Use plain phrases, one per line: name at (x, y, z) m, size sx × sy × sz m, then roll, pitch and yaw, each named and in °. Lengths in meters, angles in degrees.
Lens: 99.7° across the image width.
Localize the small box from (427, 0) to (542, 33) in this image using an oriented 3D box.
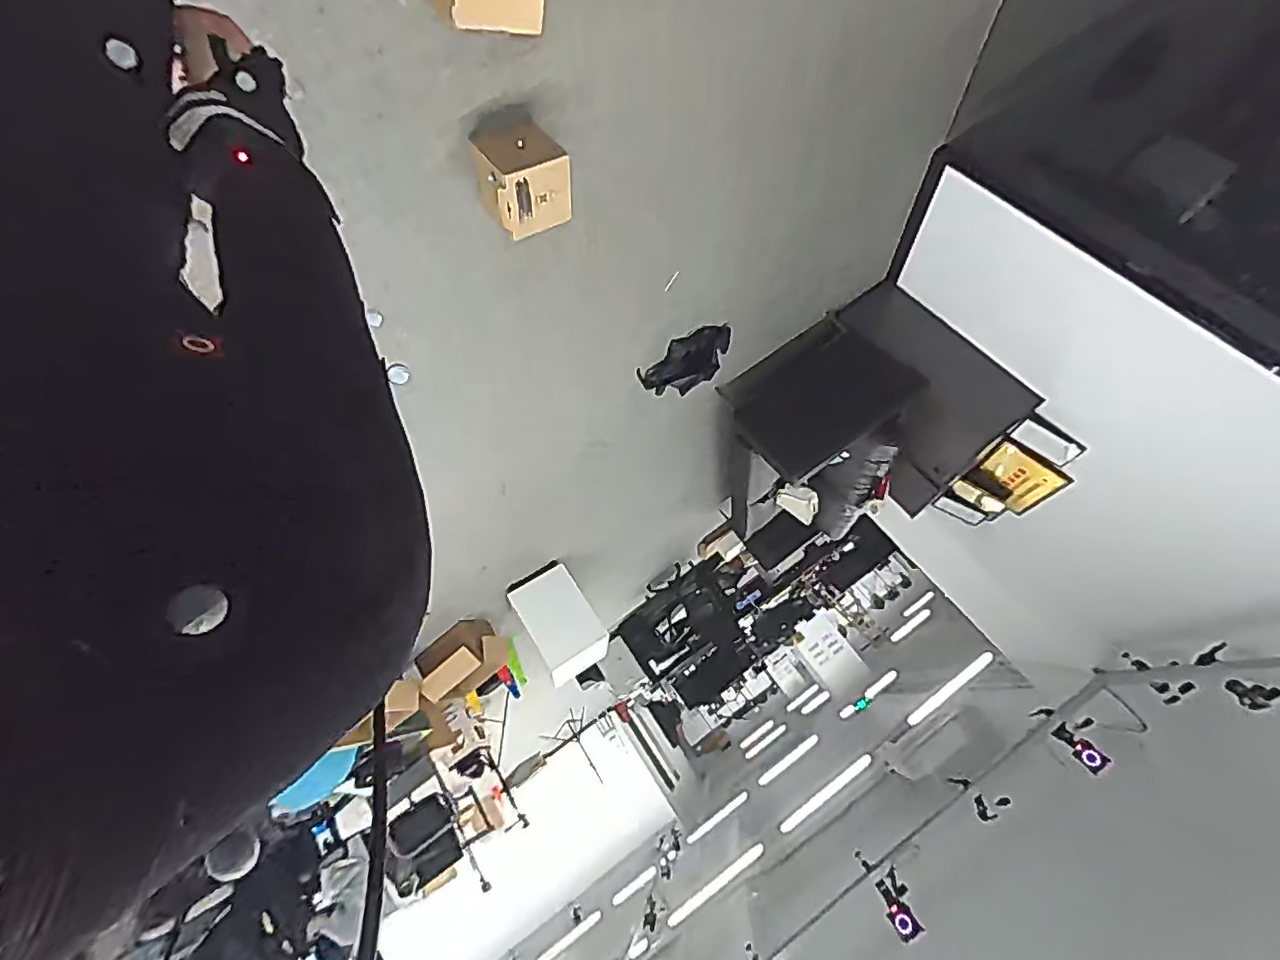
small box at (-0.283, -0.918, 0.940) m, size 0.179 × 0.176 × 0.168 m, roll -24°, pitch 154°, yaw -30°
